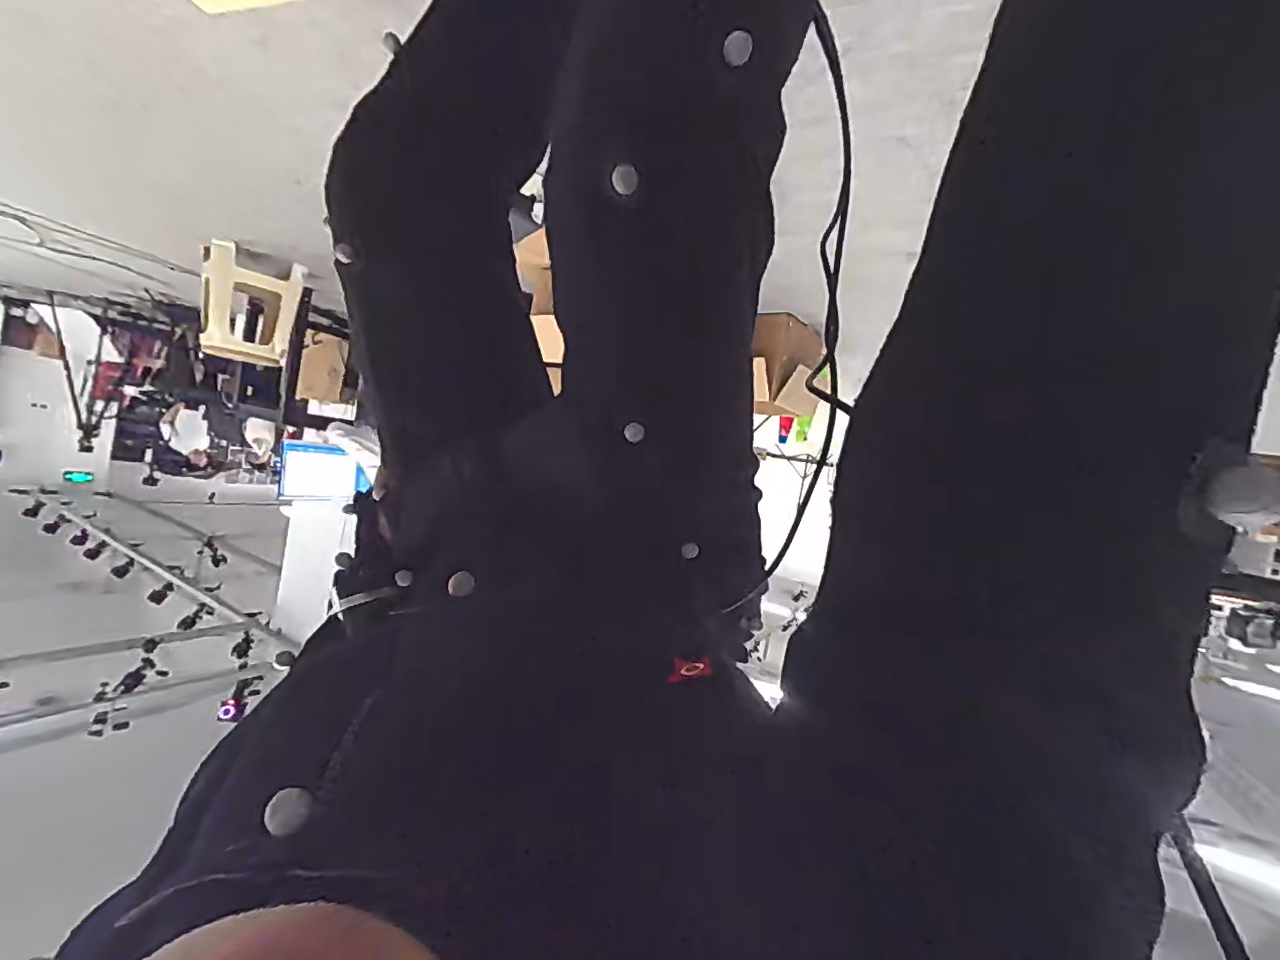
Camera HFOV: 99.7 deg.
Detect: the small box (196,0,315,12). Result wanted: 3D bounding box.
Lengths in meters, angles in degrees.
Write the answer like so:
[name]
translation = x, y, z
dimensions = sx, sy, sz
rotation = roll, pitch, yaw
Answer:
[small box]
translation = -0.420, -0.597, 0.504
dimensions = 0.168, 0.176, 0.179
rotation = 11, -179, 18
